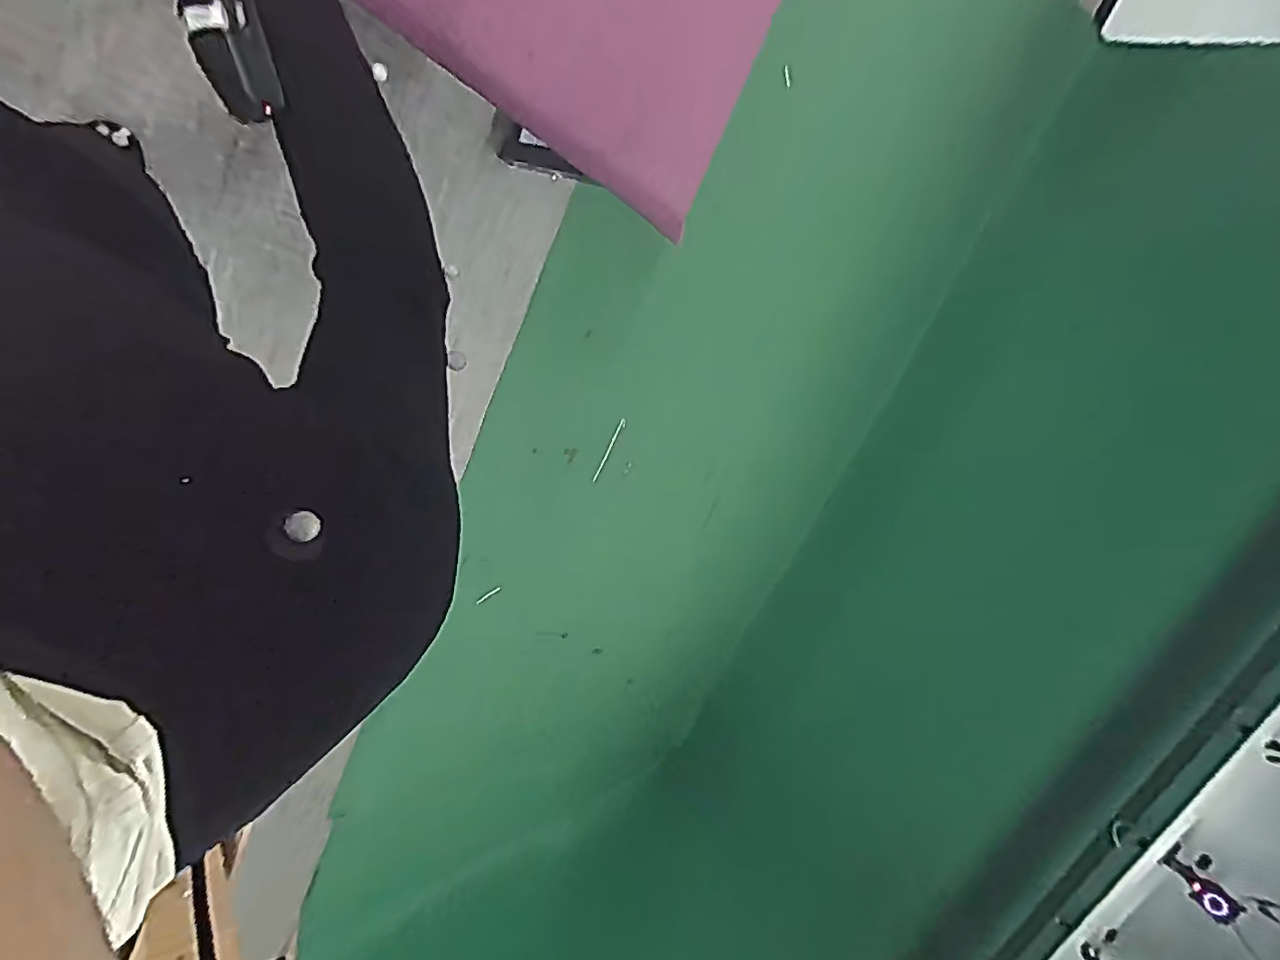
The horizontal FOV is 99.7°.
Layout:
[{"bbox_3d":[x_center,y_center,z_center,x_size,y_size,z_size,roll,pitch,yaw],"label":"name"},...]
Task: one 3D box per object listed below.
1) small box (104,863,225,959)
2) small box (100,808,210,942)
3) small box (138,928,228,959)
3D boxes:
[{"bbox_3d":[-1.091,1.037,1.237,0.168,0.176,0.179,15,106,-53],"label":"small box"},{"bbox_3d":[-1.198,0.960,1.332,0.168,0.176,0.179,12,109,-52],"label":"small box"},{"bbox_3d":[-0.987,1.114,1.139,0.168,0.176,0.179,17,105,-52],"label":"small box"}]
